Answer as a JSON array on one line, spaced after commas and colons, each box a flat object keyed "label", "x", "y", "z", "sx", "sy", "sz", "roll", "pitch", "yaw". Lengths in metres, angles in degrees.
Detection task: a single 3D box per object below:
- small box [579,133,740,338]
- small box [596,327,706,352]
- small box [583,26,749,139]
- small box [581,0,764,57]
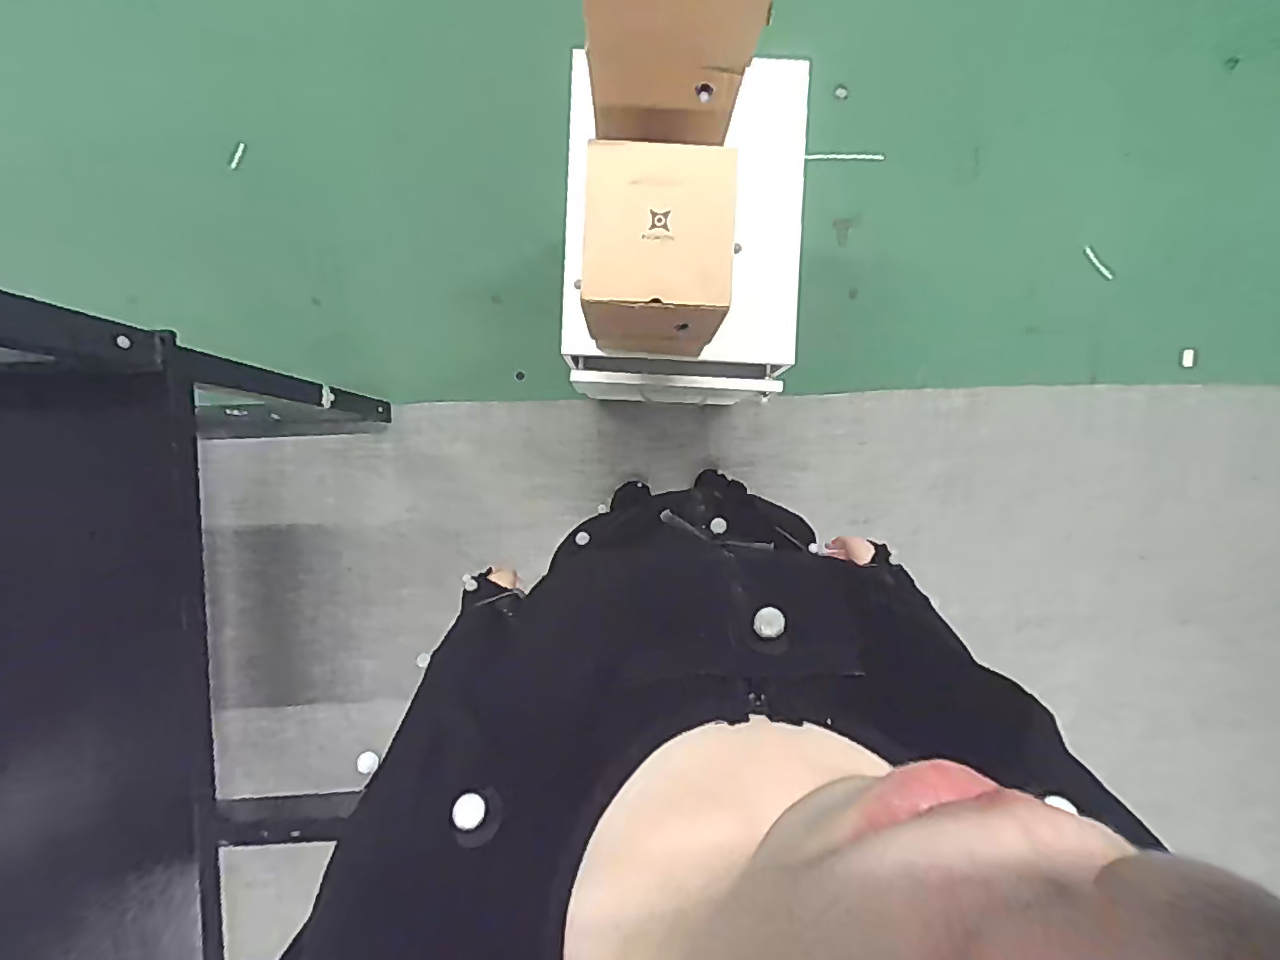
[{"label": "small box", "x": 0.019, "y": -0.275, "z": 0.647, "sx": 0.168, "sy": 0.176, "sz": 0.179, "roll": 2, "pitch": 90, "yaw": -2}, {"label": "small box", "x": 0.024, "y": -0.296, "z": 0.808, "sx": 0.179, "sy": 0.176, "sz": 0.168, "roll": 5, "pitch": 90, "yaw": -2}, {"label": "small box", "x": 0.033, "y": -0.526, "z": 0.642, "sx": 0.179, "sy": 0.176, "sz": 0.168, "roll": 6, "pitch": 91, "yaw": -2}, {"label": "small box", "x": 0.030, "y": -0.516, "z": 0.478, "sx": 0.179, "sy": 0.176, "sz": 0.168, "roll": -2, "pitch": 92, "yaw": -2}]
